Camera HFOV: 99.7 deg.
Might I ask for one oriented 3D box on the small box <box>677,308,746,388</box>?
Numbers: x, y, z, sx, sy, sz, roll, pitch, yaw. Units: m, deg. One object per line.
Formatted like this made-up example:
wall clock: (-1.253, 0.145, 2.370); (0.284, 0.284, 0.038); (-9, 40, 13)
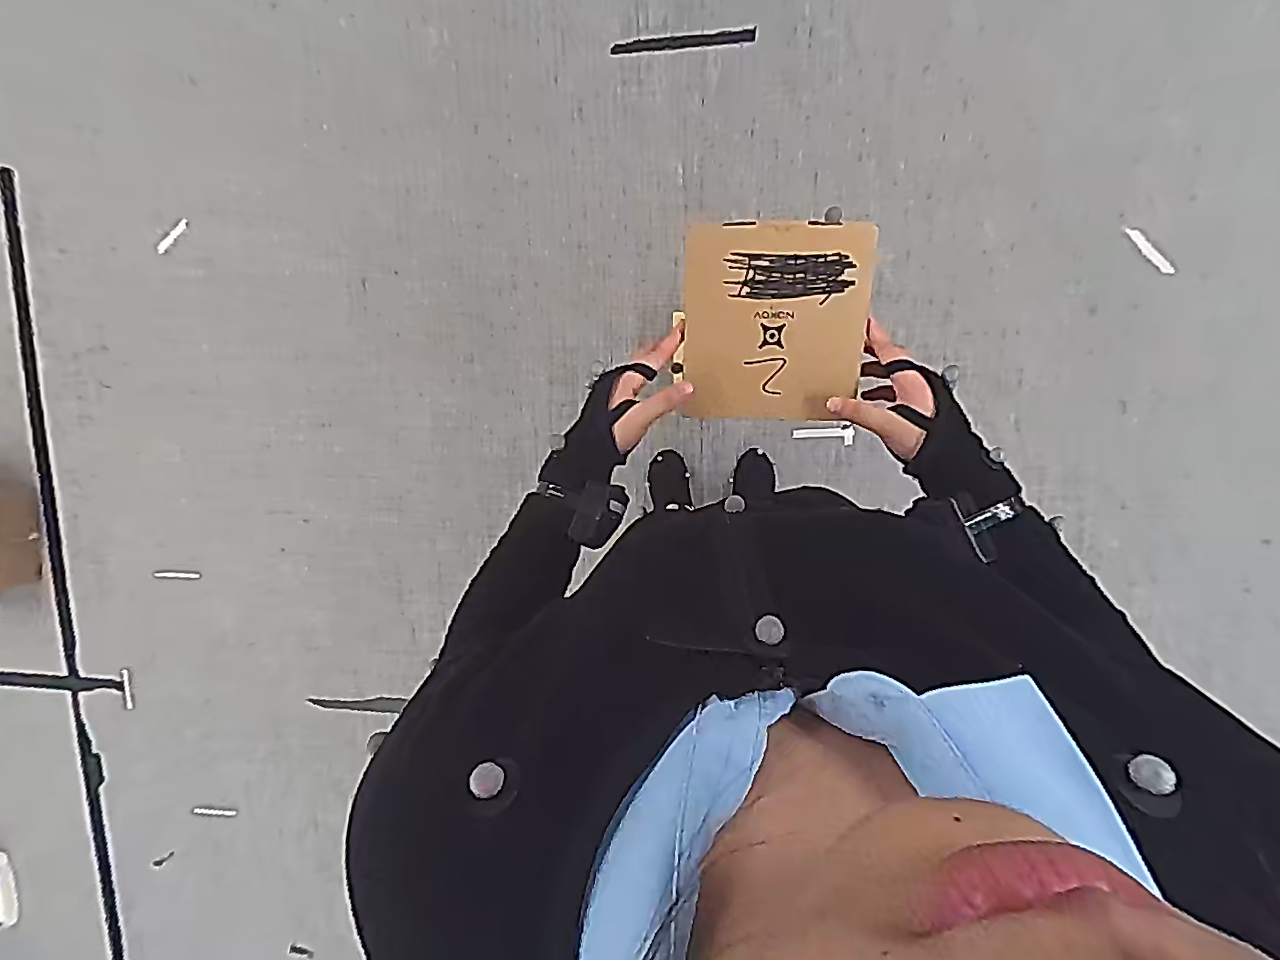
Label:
small box: (0.178, -0.328, 1.368); (0.168, 0.176, 0.179); (-1, 97, 6)
